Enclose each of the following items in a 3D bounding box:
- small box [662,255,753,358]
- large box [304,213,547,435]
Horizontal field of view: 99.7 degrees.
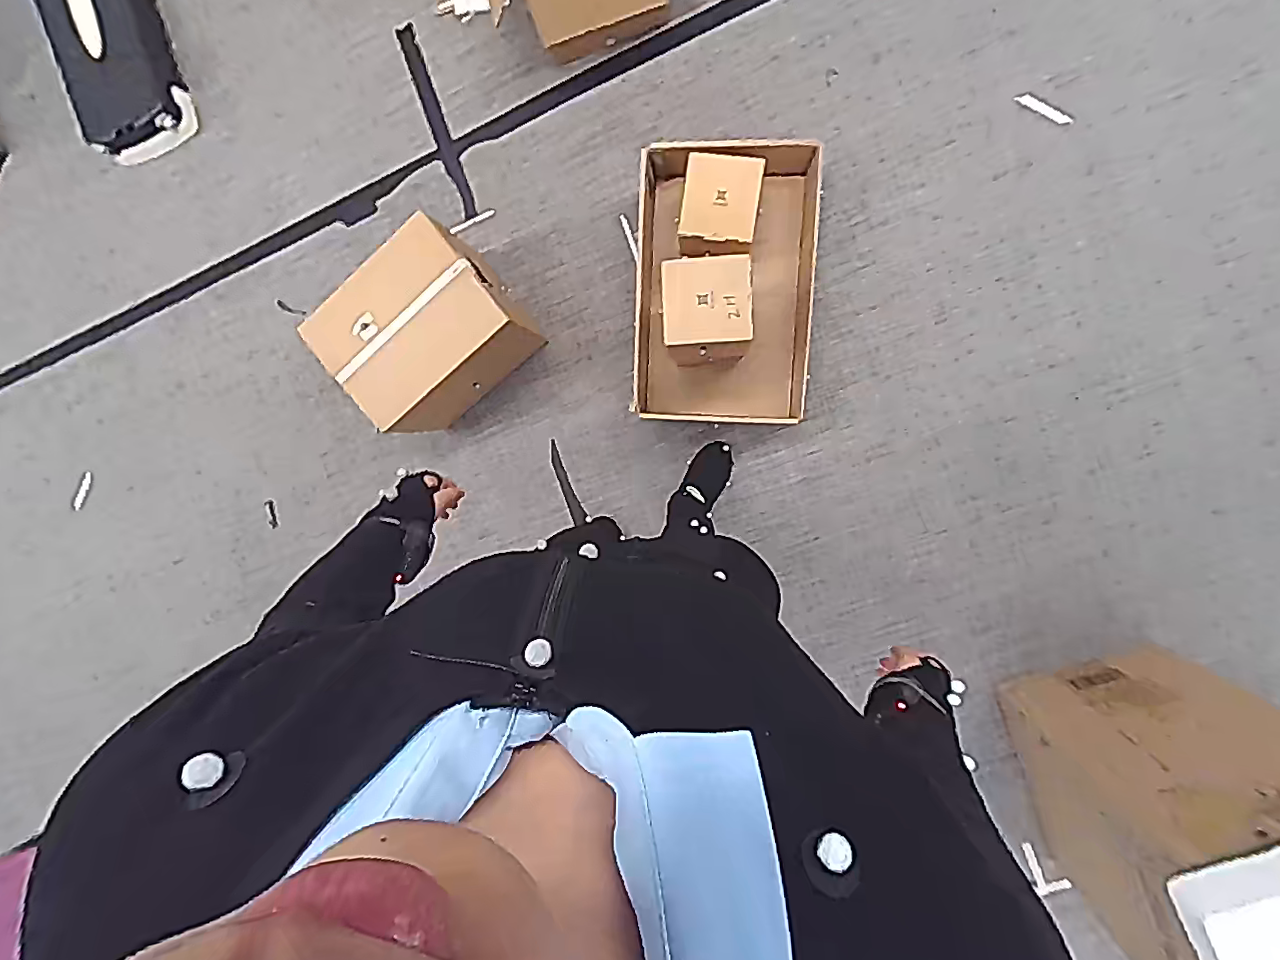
[{"bbox_3d":[0.140,-0.352,1.124,0.179,0.176,0.168,-1,94,6],"label":"small box"},{"bbox_3d":[-0.508,-0.361,1.349,0.408,0.320,0.320,-39,90,10],"label":"large box"}]
